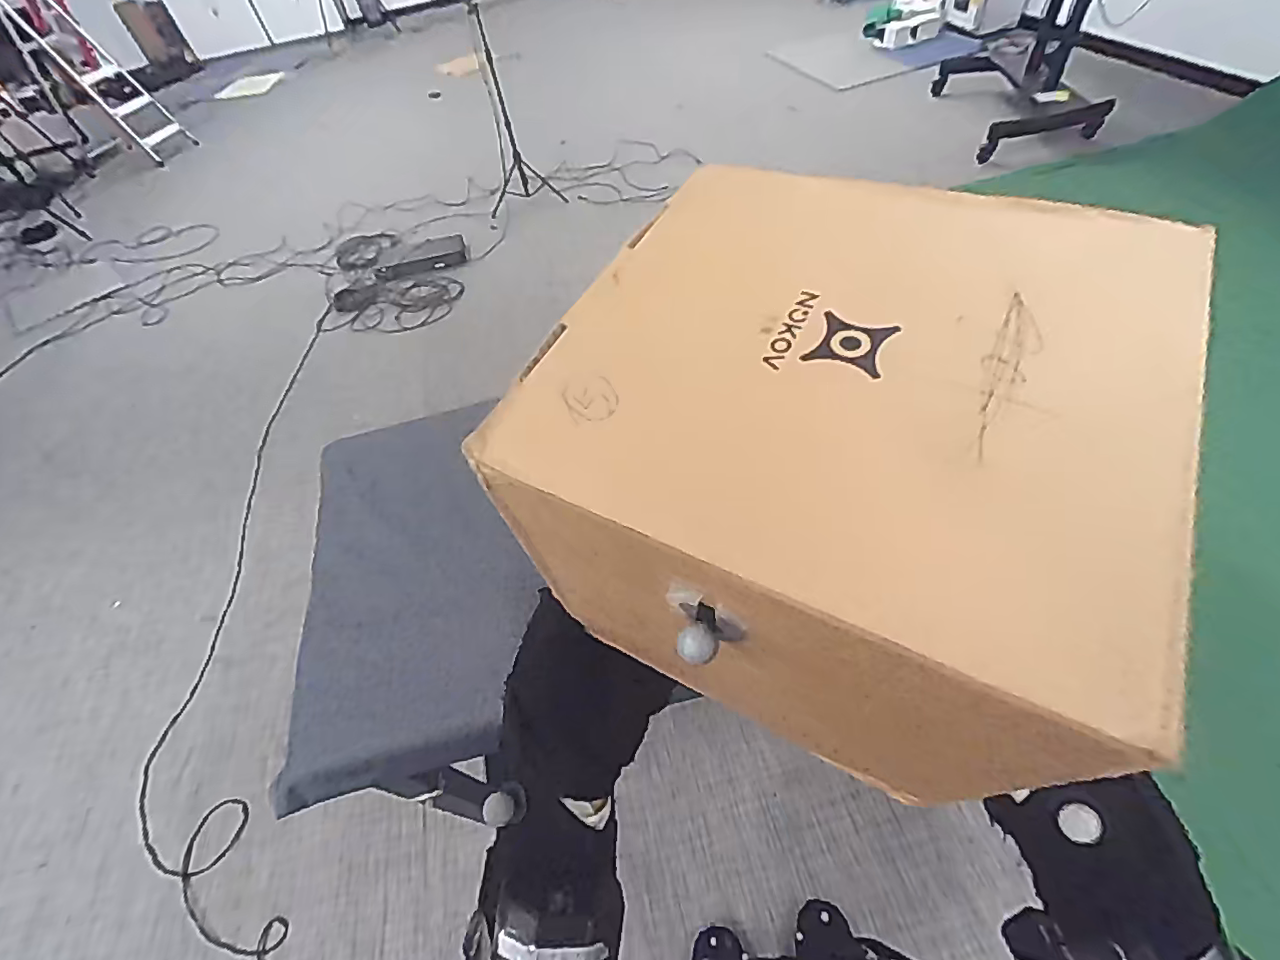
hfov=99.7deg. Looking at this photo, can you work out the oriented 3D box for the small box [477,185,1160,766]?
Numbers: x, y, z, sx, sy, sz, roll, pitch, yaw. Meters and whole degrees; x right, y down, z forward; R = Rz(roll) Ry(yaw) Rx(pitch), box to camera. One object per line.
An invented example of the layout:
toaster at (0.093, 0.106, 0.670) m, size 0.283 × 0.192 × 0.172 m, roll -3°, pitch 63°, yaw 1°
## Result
small box at (0.069, 0.003, 0.241) m, size 0.179 × 0.176 × 0.168 m, roll 21°, pitch 63°, yaw 21°
